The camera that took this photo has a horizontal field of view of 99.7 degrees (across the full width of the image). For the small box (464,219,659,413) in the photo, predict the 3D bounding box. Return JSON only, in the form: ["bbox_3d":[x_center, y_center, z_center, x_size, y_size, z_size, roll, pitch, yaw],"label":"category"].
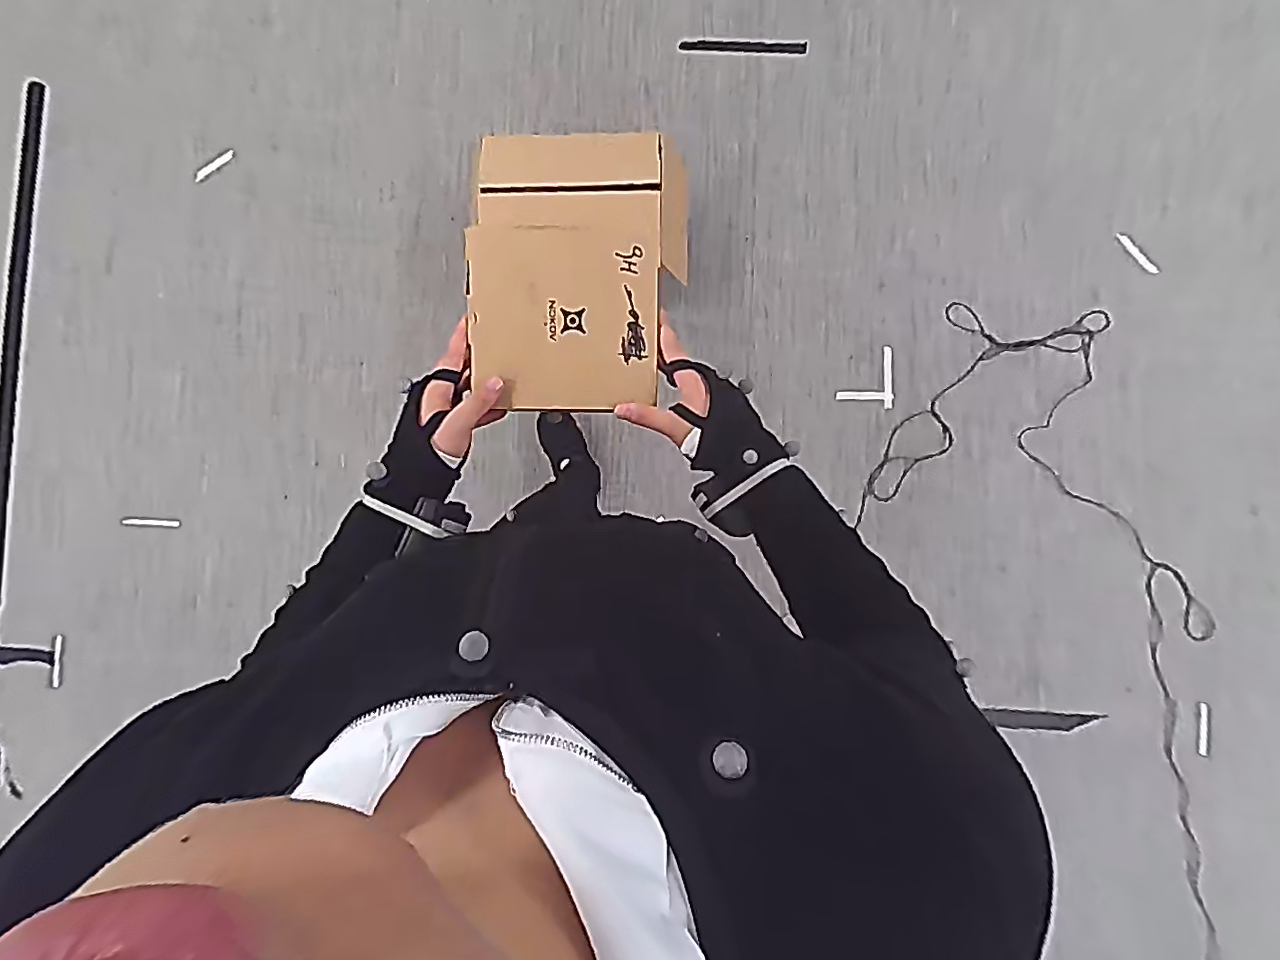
[{"bbox_3d":[-0.073,-0.157,0.569,0.179,0.176,0.168,0,95,-3],"label":"small box"}]
